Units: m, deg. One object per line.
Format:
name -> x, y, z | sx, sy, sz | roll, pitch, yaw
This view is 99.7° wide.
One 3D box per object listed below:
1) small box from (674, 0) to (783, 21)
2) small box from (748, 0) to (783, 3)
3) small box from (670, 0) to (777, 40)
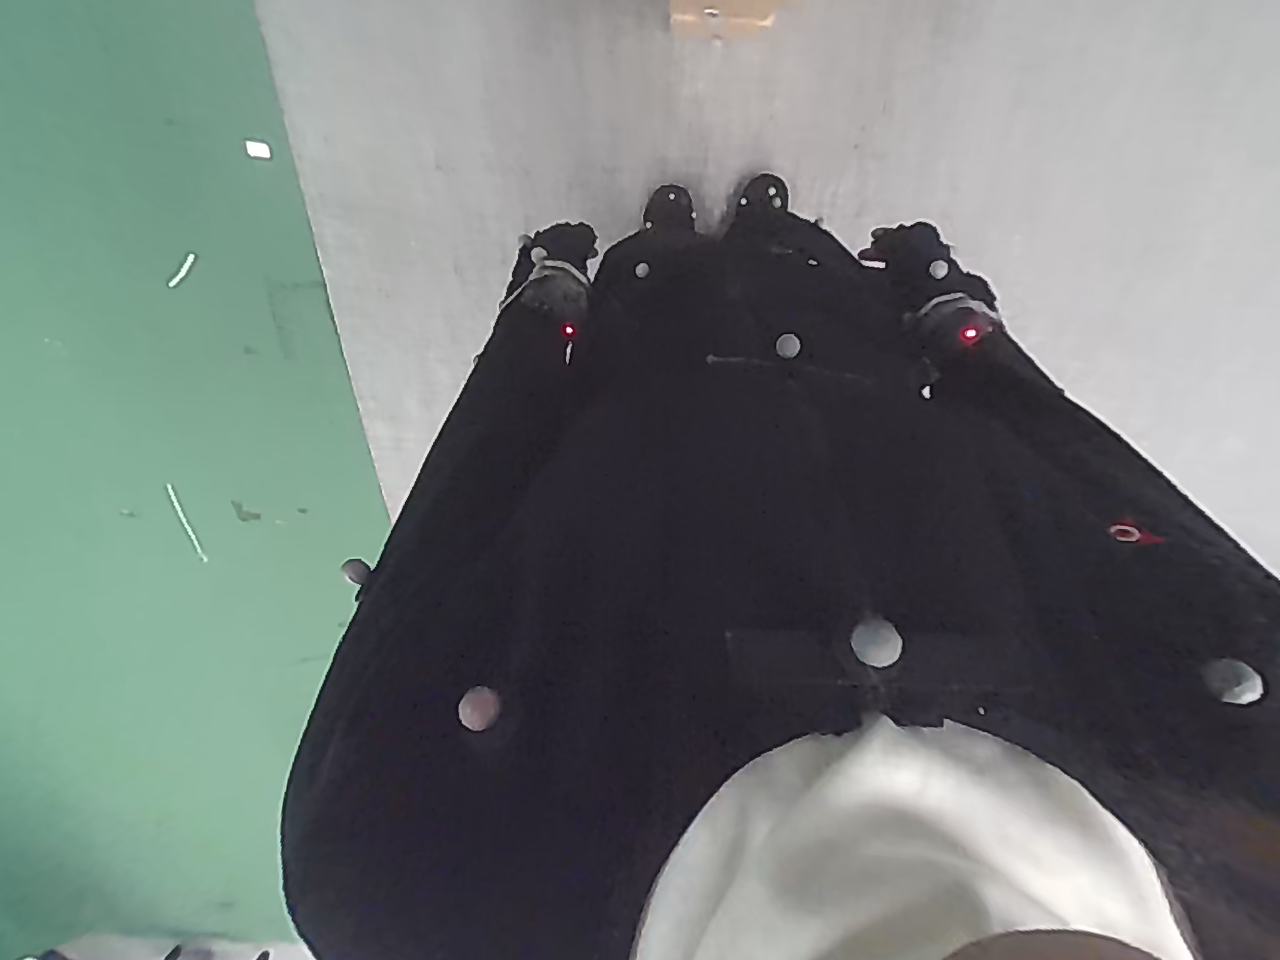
small box -> 0.135, -0.808, 0.795 | 0.168, 0.176, 0.179 | 4, 123, 2
small box -> 0.132, -0.713, 0.660 | 0.179, 0.176, 0.168 | 6, 122, 0
small box -> 0.147, -0.884, 0.938 | 0.179, 0.176, 0.168 | 4, 122, -1
